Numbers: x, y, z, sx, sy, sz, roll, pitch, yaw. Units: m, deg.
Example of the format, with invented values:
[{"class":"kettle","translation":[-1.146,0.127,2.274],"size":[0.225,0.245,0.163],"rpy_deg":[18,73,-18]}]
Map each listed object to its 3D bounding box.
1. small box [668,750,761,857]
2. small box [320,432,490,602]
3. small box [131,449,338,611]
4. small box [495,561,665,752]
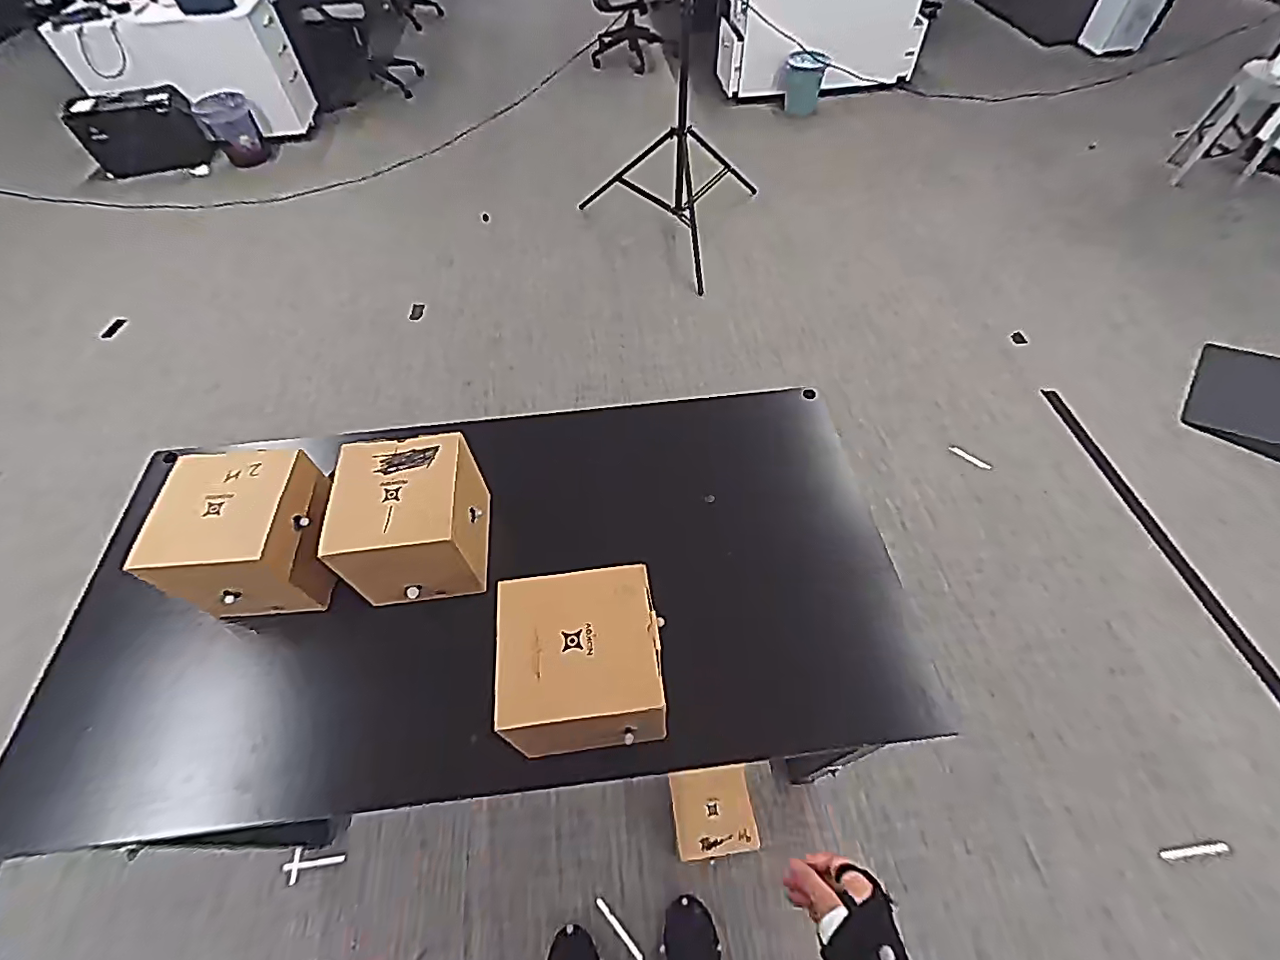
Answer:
[{"class":"small box","translation":[0.154,0.714,1.190],"size":[0.168,0.176,0.179],"rpy_deg":[-8,55,-2]},{"class":"small box","translation":[-0.319,0.056,0.777],"size":[0.168,0.176,0.179],"rpy_deg":[-7,56,-3]},{"class":"small box","translation":[-0.543,0.078,0.770],"size":[0.168,0.176,0.179],"rpy_deg":[-4,55,-2]},{"class":"small box","translation":[-0.067,0.218,0.657],"size":[0.179,0.176,0.168],"rpy_deg":[-8,54,-2]}]
